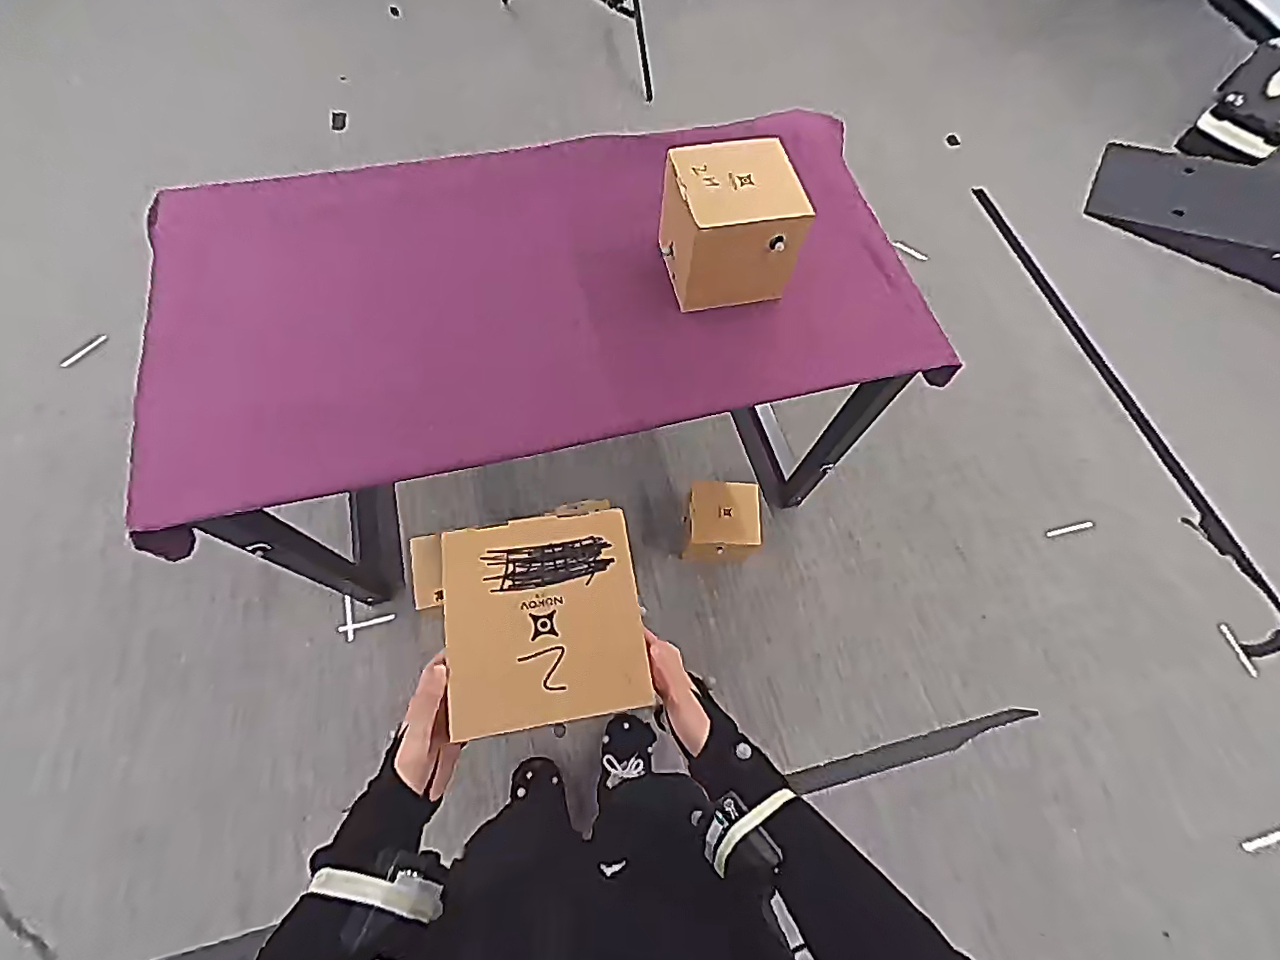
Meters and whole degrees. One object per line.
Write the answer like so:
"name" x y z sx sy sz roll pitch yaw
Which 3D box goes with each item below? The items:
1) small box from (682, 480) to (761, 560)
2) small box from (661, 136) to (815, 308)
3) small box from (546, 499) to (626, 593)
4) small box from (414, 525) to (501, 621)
"small box" 0.210 0.110 1.425 0.179 0.176 0.168 3 67 -1
"small box" 0.139 -0.394 0.841 0.179 0.176 0.168 -11 67 -7
"small box" -0.138 0.171 1.377 0.168 0.176 0.179 -13 69 -8
"small box" -0.446 0.233 1.334 0.168 0.176 0.179 -11 66 -8
